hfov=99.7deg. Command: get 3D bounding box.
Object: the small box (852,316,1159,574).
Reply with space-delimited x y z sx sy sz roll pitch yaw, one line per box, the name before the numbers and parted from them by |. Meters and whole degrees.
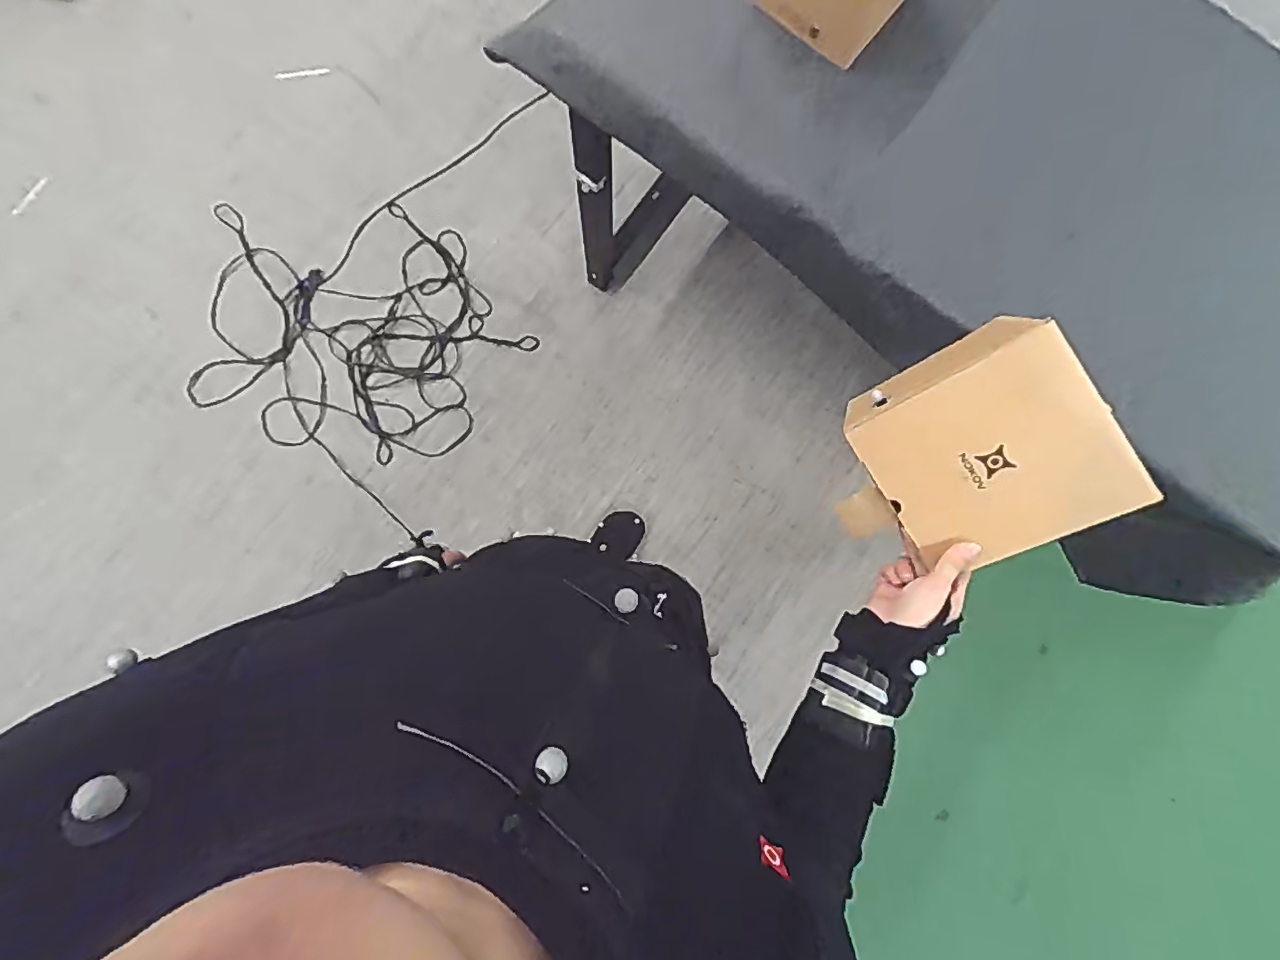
small box | 0.325 -0.043 0.523 0.179 0.176 0.168 -31 94 28
